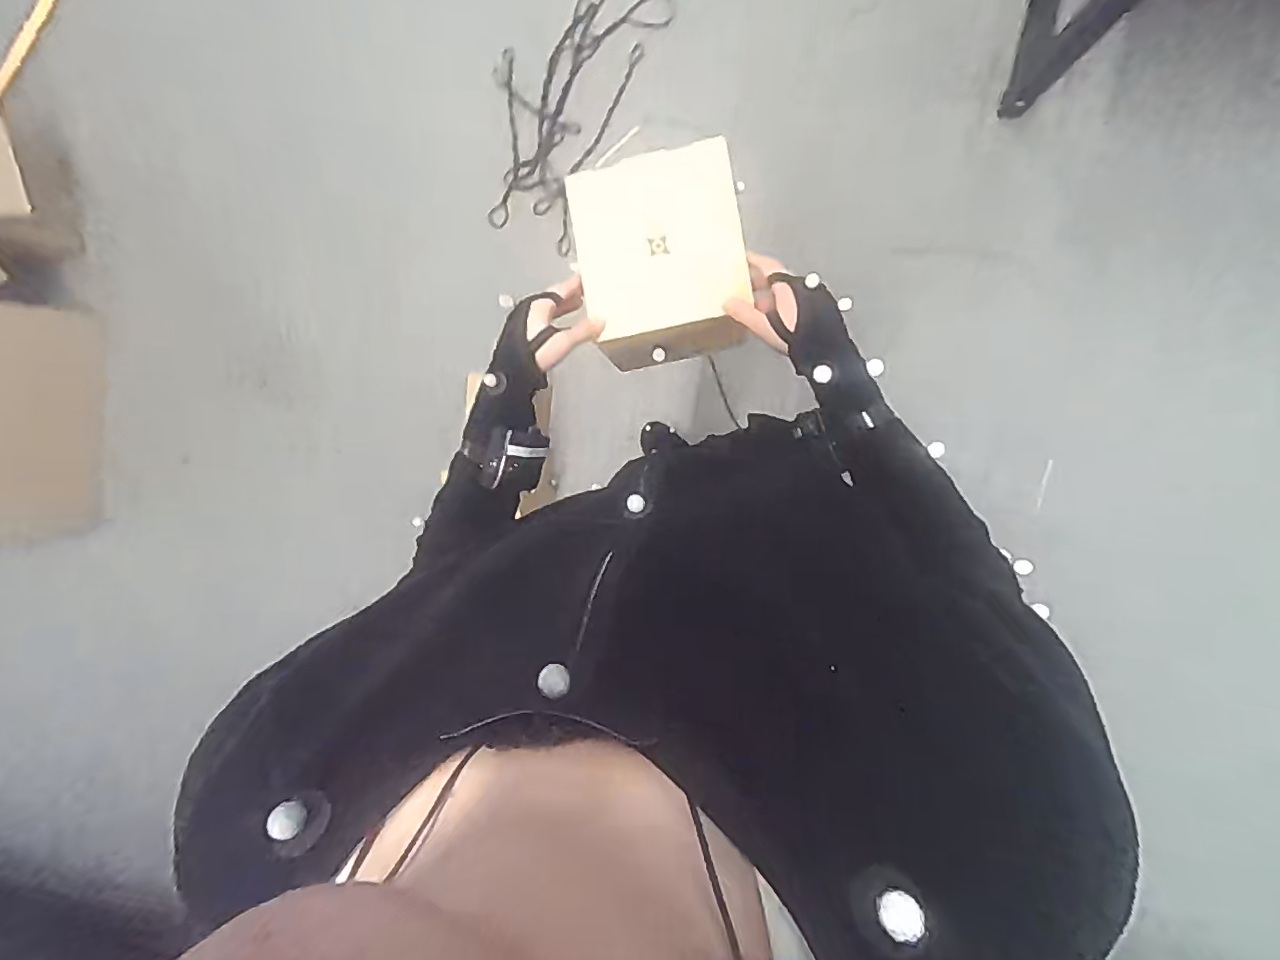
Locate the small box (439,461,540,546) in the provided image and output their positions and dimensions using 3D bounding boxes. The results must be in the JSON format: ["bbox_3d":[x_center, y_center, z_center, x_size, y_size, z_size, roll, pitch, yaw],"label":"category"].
[{"bbox_3d":[-0.353,0.052,1.312,0.179,0.176,0.168,-9,96,9],"label":"small box"}]

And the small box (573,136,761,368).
[{"bbox_3d":[0.037,-0.231,0.604,0.168,0.176,0.179,-10,88,8],"label":"small box"}]
